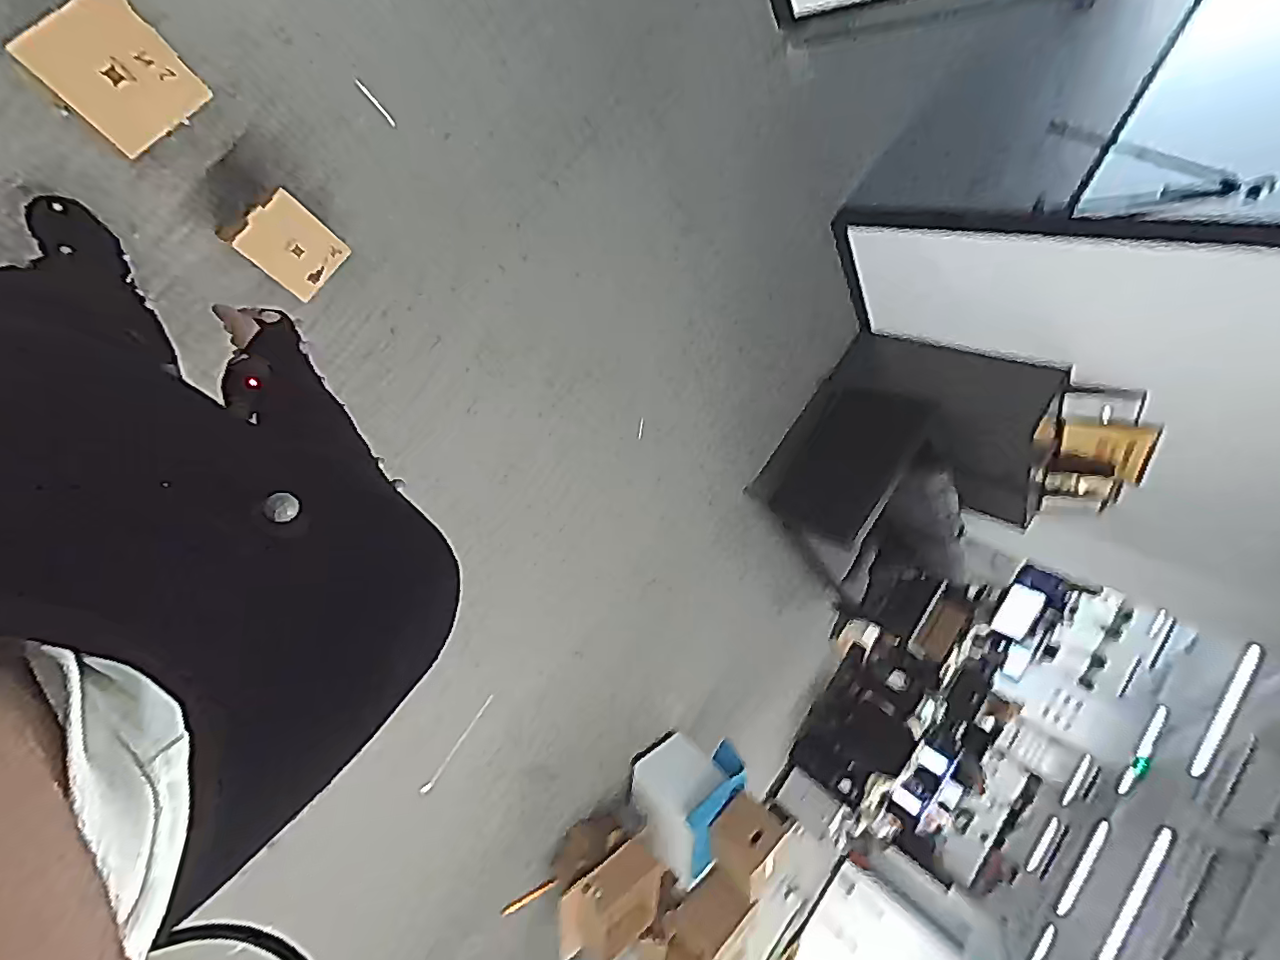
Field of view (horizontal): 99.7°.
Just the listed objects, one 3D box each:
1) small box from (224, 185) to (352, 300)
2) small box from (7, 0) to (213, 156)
[{"bbox_3d":[-0.812,-0.543,1.243,0.168,0.176,0.179,-54,137,-9],"label":"small box"},{"bbox_3d":[-0.856,-0.660,0.888,0.179,0.176,0.168,-51,138,-13],"label":"small box"}]
